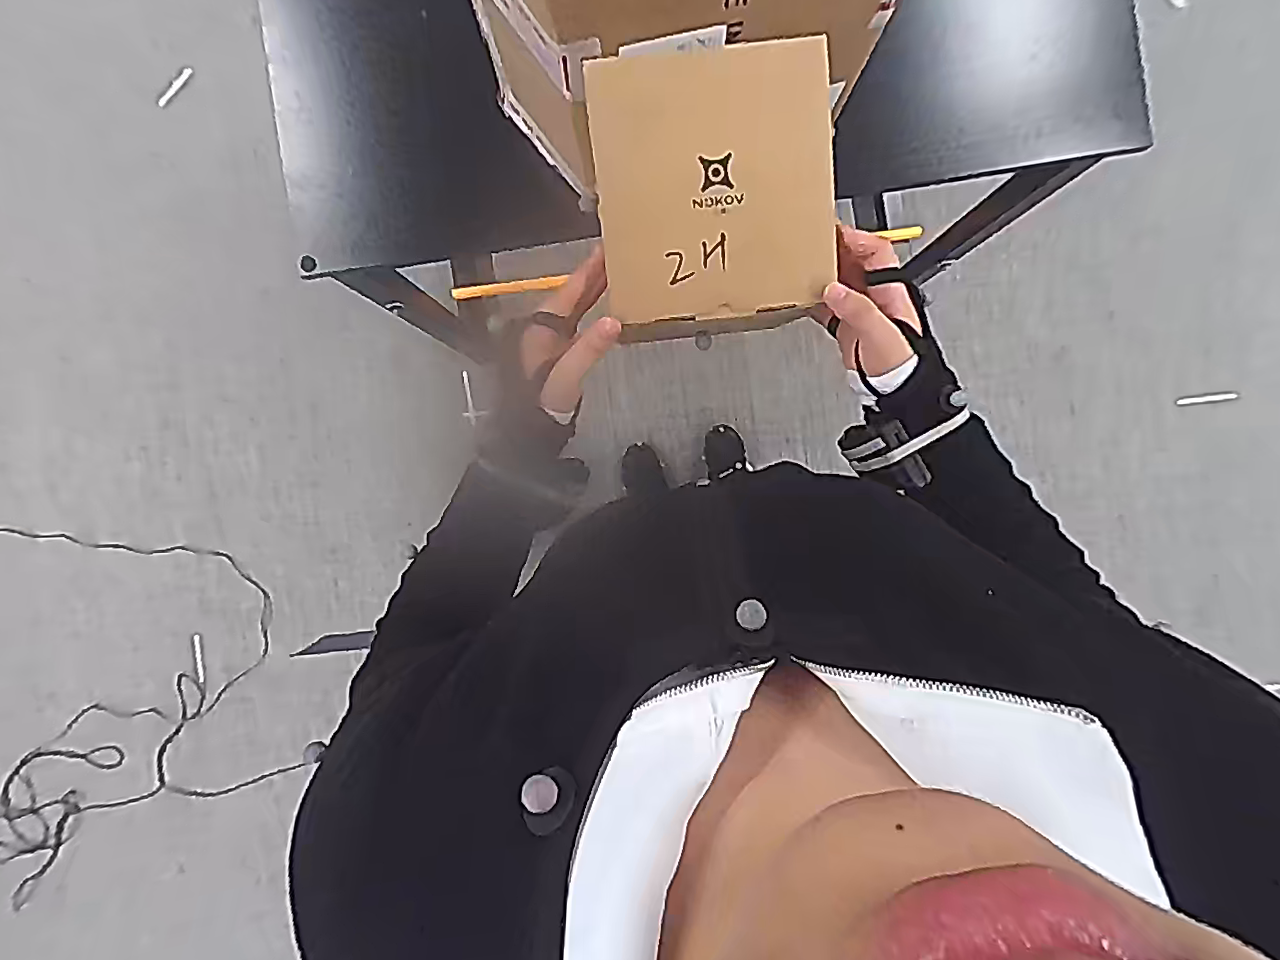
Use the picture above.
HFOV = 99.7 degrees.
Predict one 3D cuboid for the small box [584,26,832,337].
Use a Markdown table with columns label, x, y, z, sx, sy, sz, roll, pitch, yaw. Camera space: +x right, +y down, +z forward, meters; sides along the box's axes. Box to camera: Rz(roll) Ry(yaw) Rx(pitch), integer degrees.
| label | x | y | z | sx | sy | sz | roll | pitch | yaw |
| --- | --- | --- | --- | --- | --- | --- | --- | --- | --- |
| small box | 0.048 | -0.225 | 0.455 | 0.168 | 0.176 | 0.179 | -6 | 99 | 0 |
